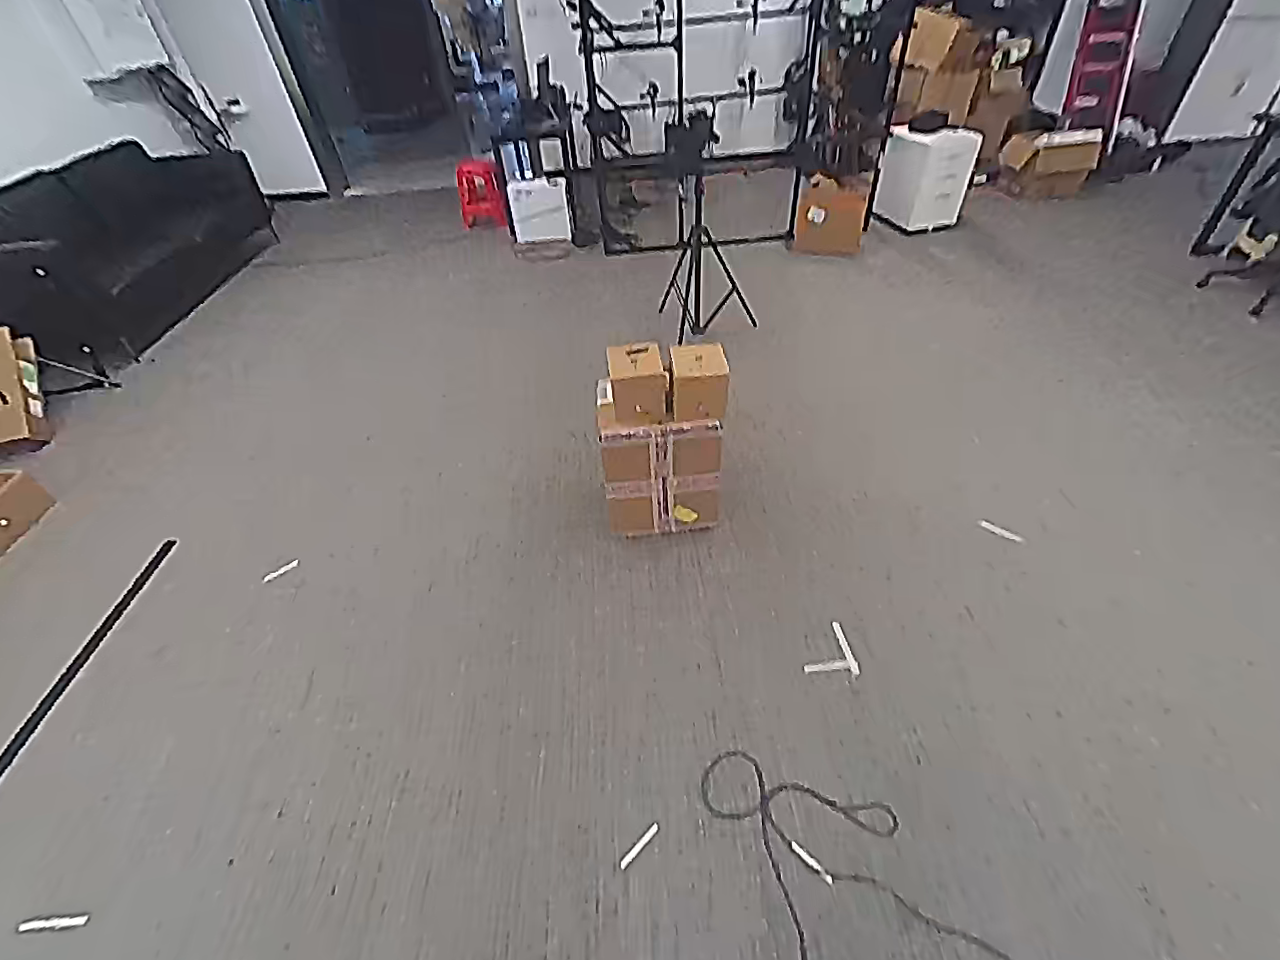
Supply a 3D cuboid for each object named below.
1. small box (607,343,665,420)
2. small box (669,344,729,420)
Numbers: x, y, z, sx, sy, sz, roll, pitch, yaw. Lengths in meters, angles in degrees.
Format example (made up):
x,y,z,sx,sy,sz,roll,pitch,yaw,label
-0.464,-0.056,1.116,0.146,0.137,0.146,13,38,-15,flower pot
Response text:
x,y,z,sx,sy,sz,roll,pitch,yaw,label
-0.014,-0.314,1.732,0.168,0.176,0.179,-8,46,-1,small box
0.180,-0.311,1.713,0.168,0.176,0.179,-4,45,-1,small box
